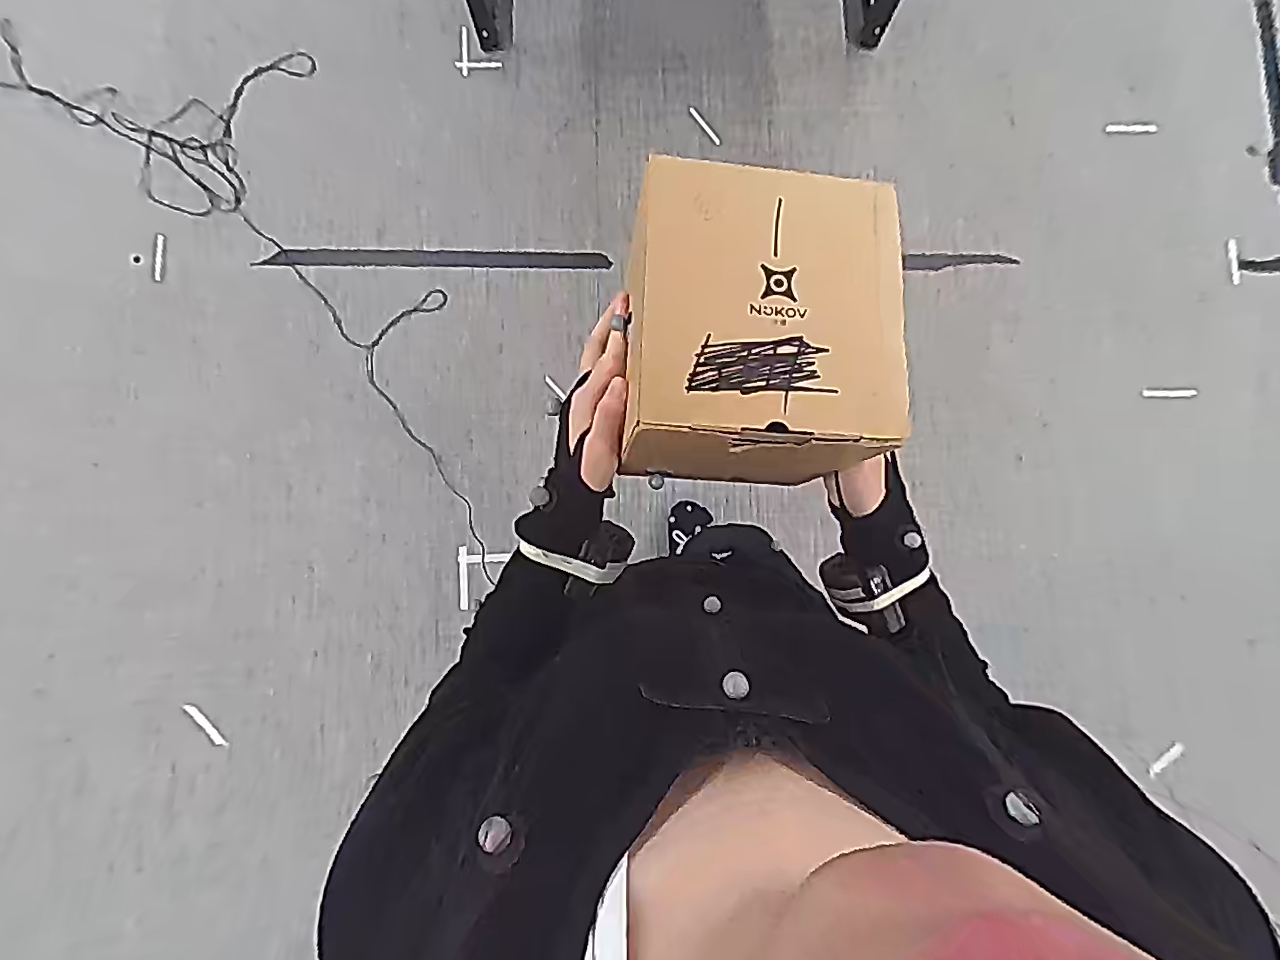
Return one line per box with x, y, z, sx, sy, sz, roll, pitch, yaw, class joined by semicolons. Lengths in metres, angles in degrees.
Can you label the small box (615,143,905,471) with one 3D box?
0.071;-0.105;0.404;0.168;0.176;0.179;3;81;-7;small box
